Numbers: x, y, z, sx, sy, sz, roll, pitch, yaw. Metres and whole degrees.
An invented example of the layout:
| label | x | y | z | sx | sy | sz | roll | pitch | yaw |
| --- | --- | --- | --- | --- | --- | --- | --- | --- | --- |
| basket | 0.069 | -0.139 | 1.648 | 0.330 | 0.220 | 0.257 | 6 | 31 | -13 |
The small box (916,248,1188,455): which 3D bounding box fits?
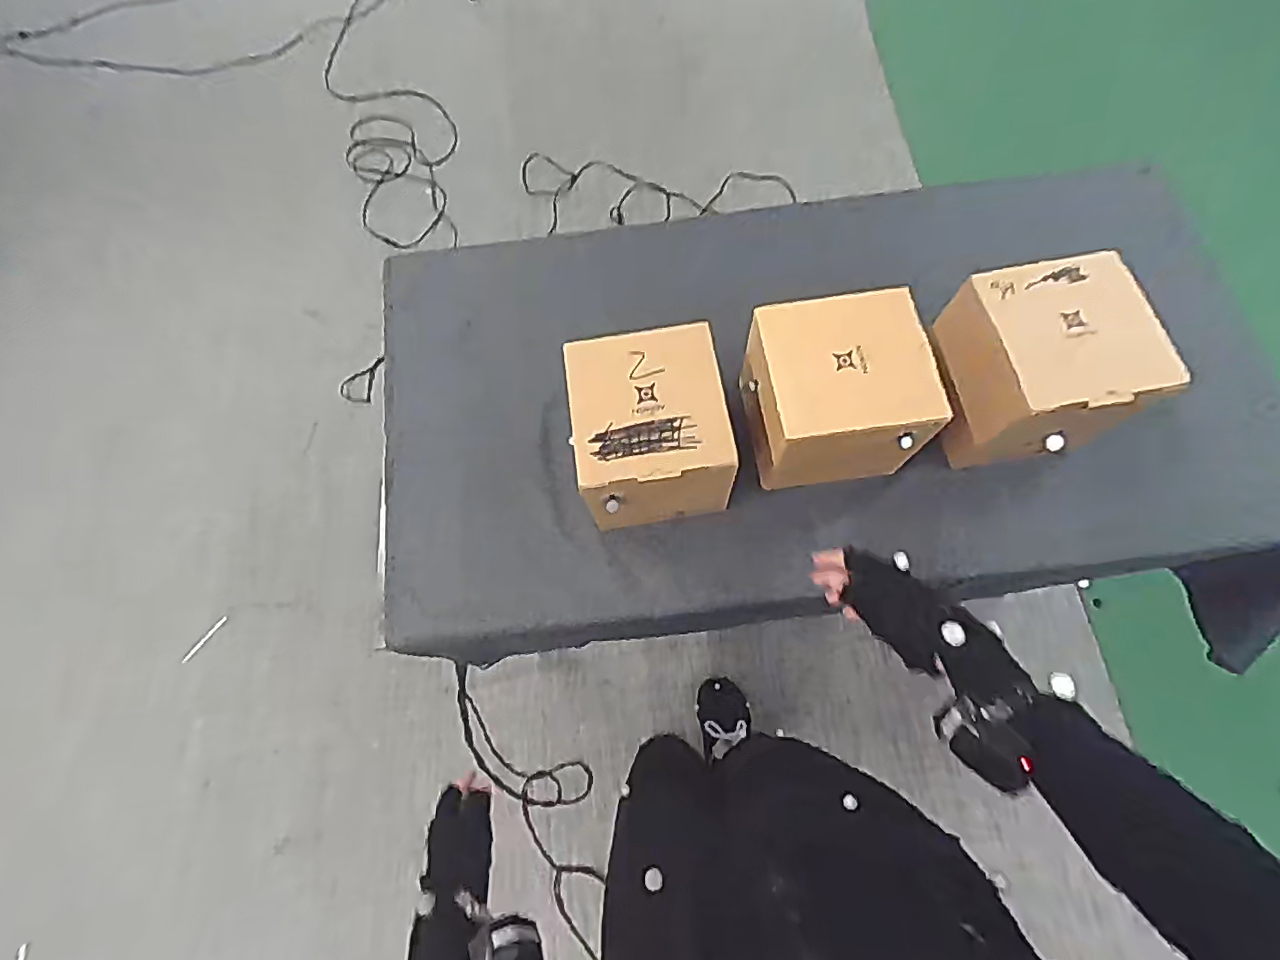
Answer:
| label | x | y | z | sx | sy | sz | roll | pitch | yaw |
| --- | --- | --- | --- | --- | --- | --- | --- | --- | --- |
| small box | 0.465 | -0.139 | 0.646 | 0.168 | 0.176 | 0.179 | -8 | 71 | -1 |
